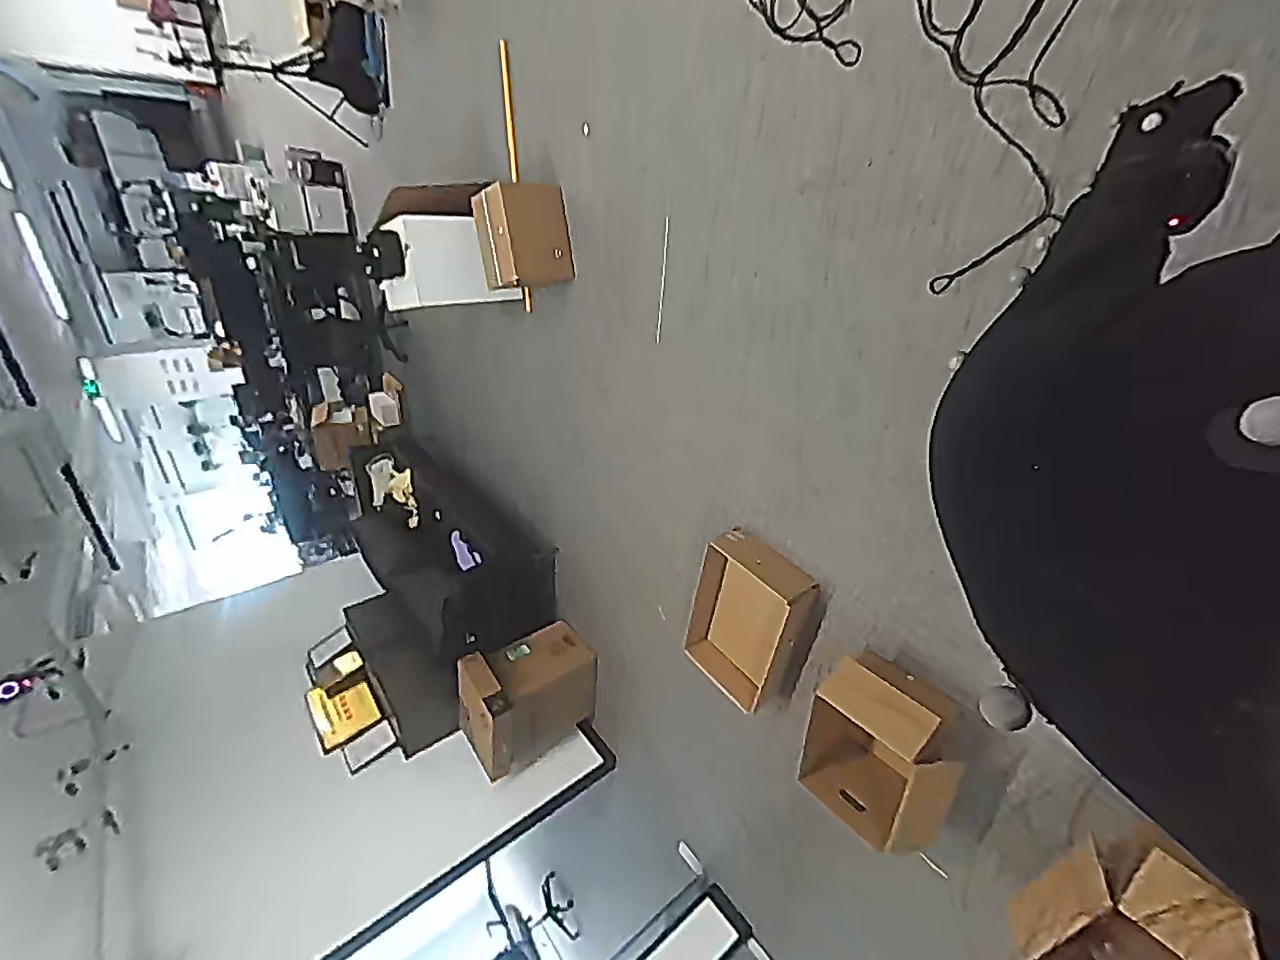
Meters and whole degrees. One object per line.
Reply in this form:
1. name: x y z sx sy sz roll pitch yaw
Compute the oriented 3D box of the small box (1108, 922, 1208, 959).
1. small box: 1.106 1.079 1.128 0.179 0.176 0.168 38 135 43
